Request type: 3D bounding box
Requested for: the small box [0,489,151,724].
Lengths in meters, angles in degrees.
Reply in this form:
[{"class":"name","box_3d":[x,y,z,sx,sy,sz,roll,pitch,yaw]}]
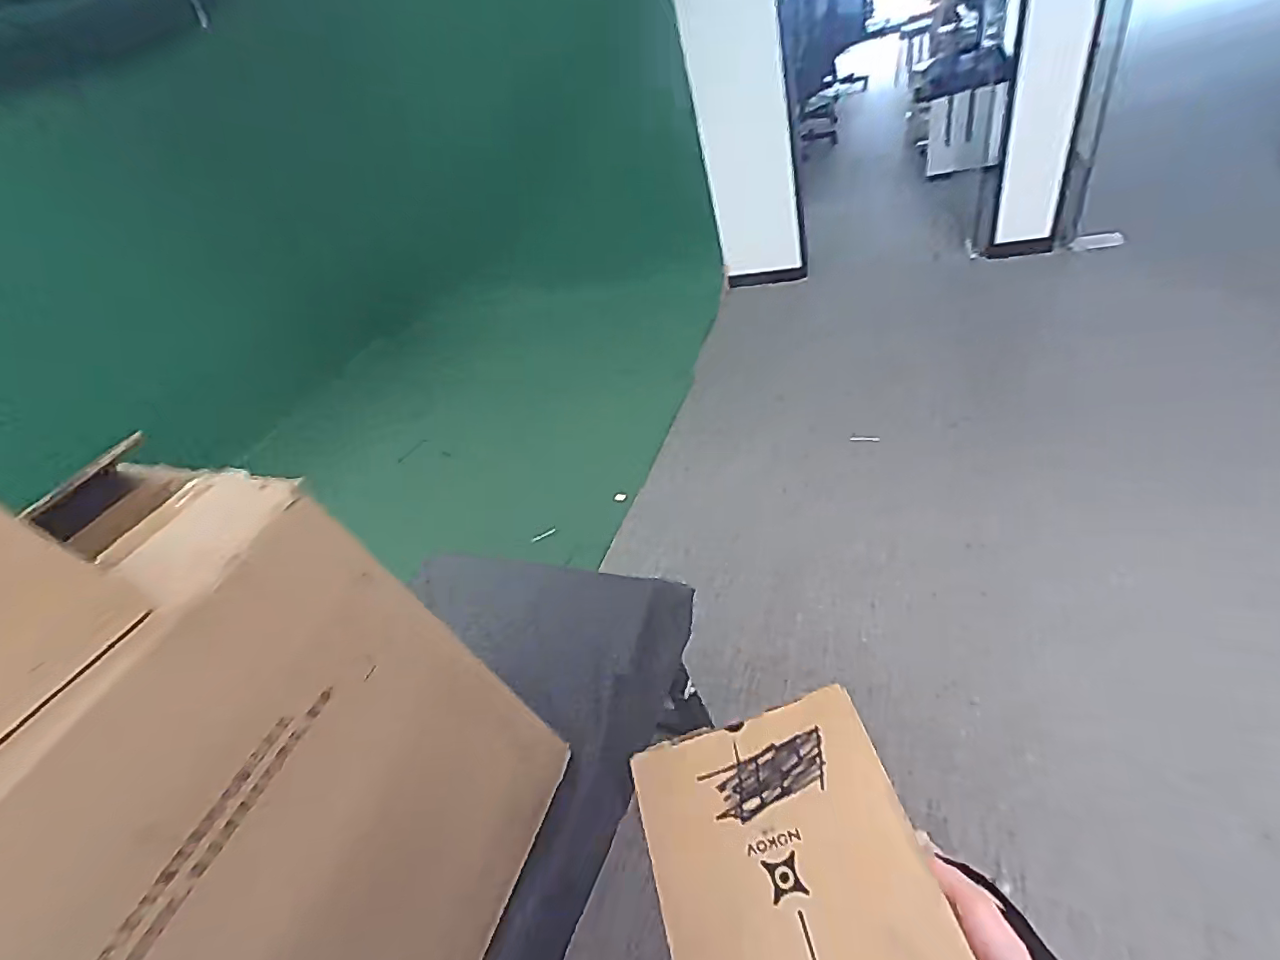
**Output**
[{"class":"small box","box_3d":[-0.484,0.081,0.342,0.168,0.176,0.179,10,50,31]}]
